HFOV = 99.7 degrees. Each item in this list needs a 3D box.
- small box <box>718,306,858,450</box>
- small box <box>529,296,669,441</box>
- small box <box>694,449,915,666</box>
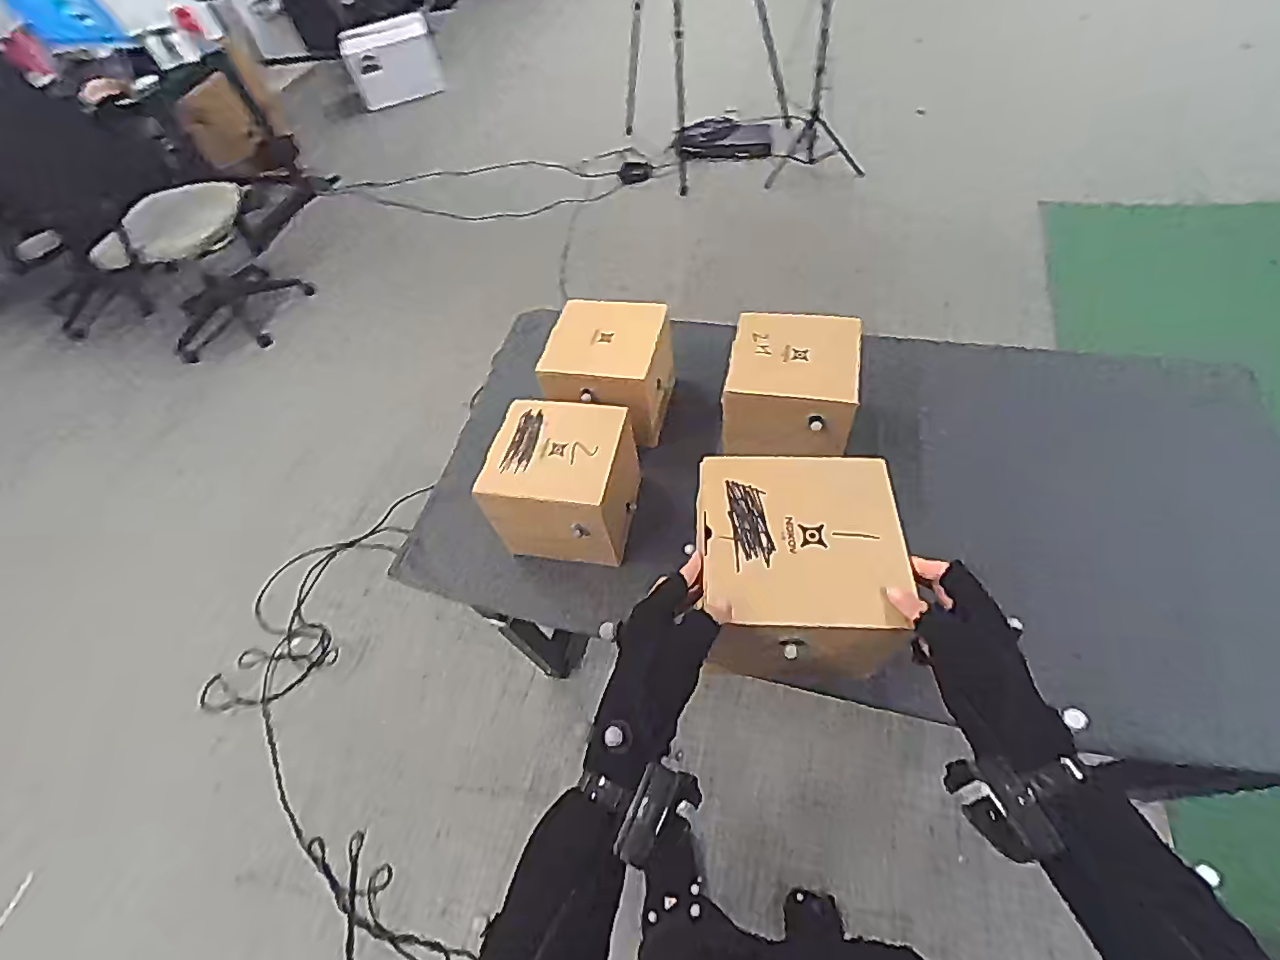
[{"bbox_3d":[0.219,-0.138,0.818,0.179,0.176,0.168,7,58,14],"label":"small box"},{"bbox_3d":[-0.054,-0.180,0.896,0.179,0.176,0.168,6,58,14],"label":"small box"},{"bbox_3d":[0.143,0.083,0.544,0.179,0.176,0.168,1,58,4],"label":"small box"}]
